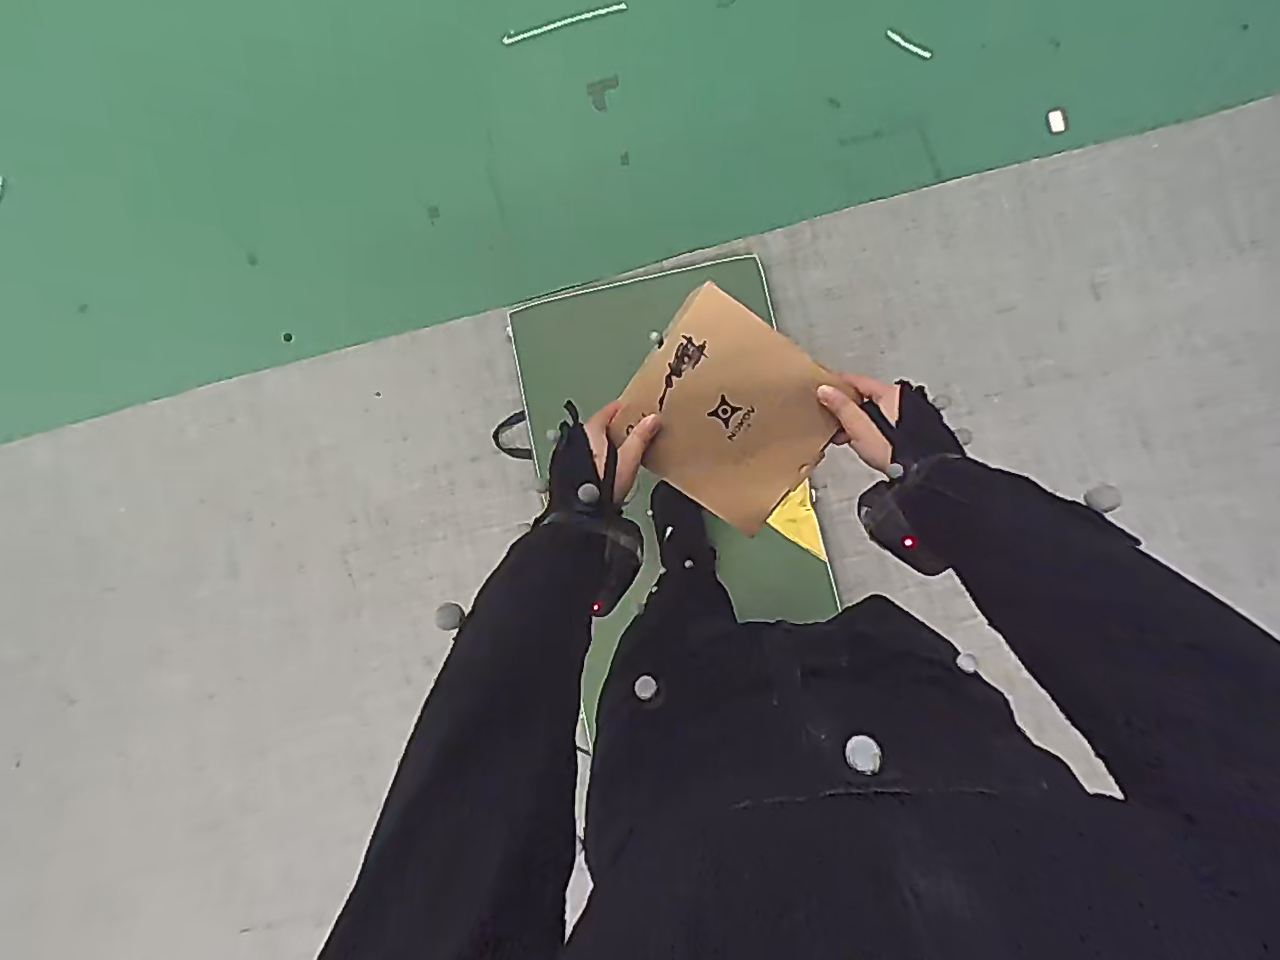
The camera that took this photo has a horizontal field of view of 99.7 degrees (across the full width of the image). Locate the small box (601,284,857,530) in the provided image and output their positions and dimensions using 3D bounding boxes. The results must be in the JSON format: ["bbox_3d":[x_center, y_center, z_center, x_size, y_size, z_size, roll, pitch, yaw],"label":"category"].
[{"bbox_3d":[0.081,-0.084,0.564,0.179,0.176,0.168,34,105,-9],"label":"small box"}]
